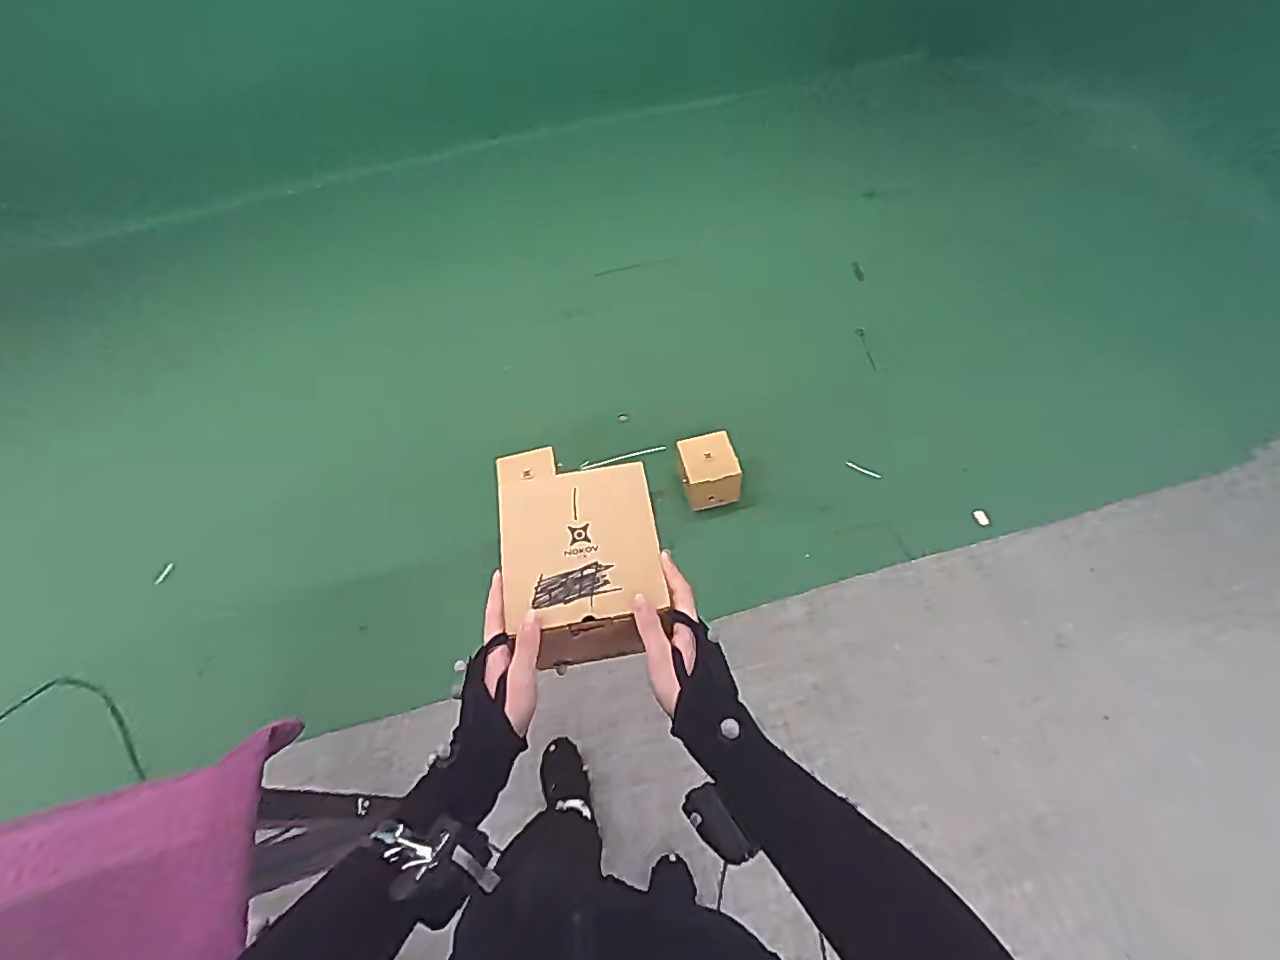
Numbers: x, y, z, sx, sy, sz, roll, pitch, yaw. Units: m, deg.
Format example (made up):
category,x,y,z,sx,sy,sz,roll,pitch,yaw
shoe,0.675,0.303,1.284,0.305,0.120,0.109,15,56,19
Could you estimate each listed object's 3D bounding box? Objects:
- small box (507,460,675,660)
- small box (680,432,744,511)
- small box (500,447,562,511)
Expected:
category,x,y,z,sx,sy,sz,roll,pitch,yaw
small box,-0.053,0.102,0.630,0.168,0.176,0.179,-8,59,-3
small box,0.228,-0.025,1.768,0.168,0.176,0.179,-14,57,-3
small box,-0.304,0.034,1.588,0.168,0.176,0.179,-13,57,-2
